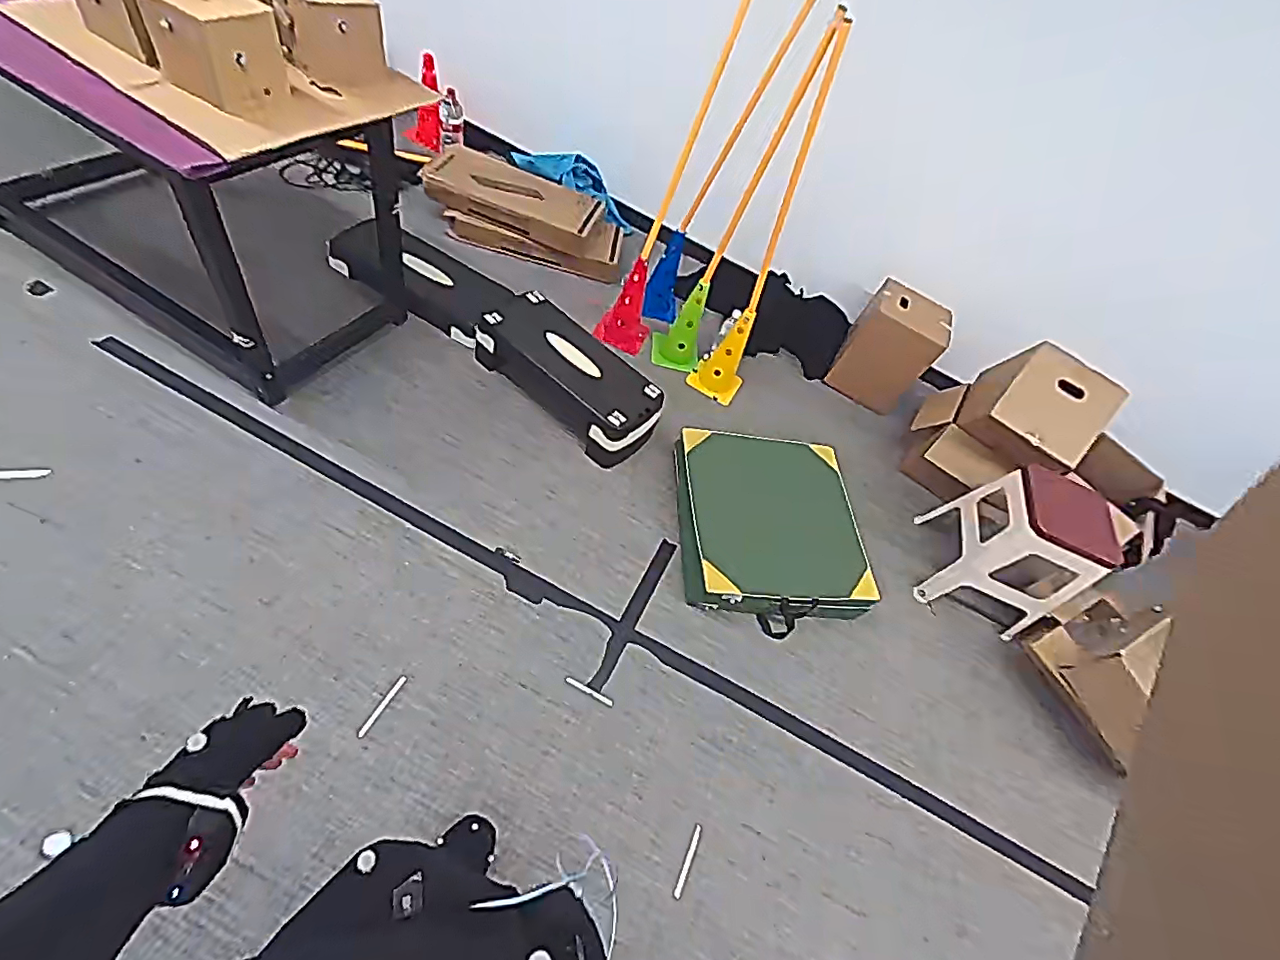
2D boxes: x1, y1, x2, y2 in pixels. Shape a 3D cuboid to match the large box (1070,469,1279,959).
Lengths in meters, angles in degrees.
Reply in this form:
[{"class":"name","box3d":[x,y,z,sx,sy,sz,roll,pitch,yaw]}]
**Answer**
[{"class":"large box","box3d":[0.373,0.141,0.139,0.320,0.408,0.320,22,79,36]}]
